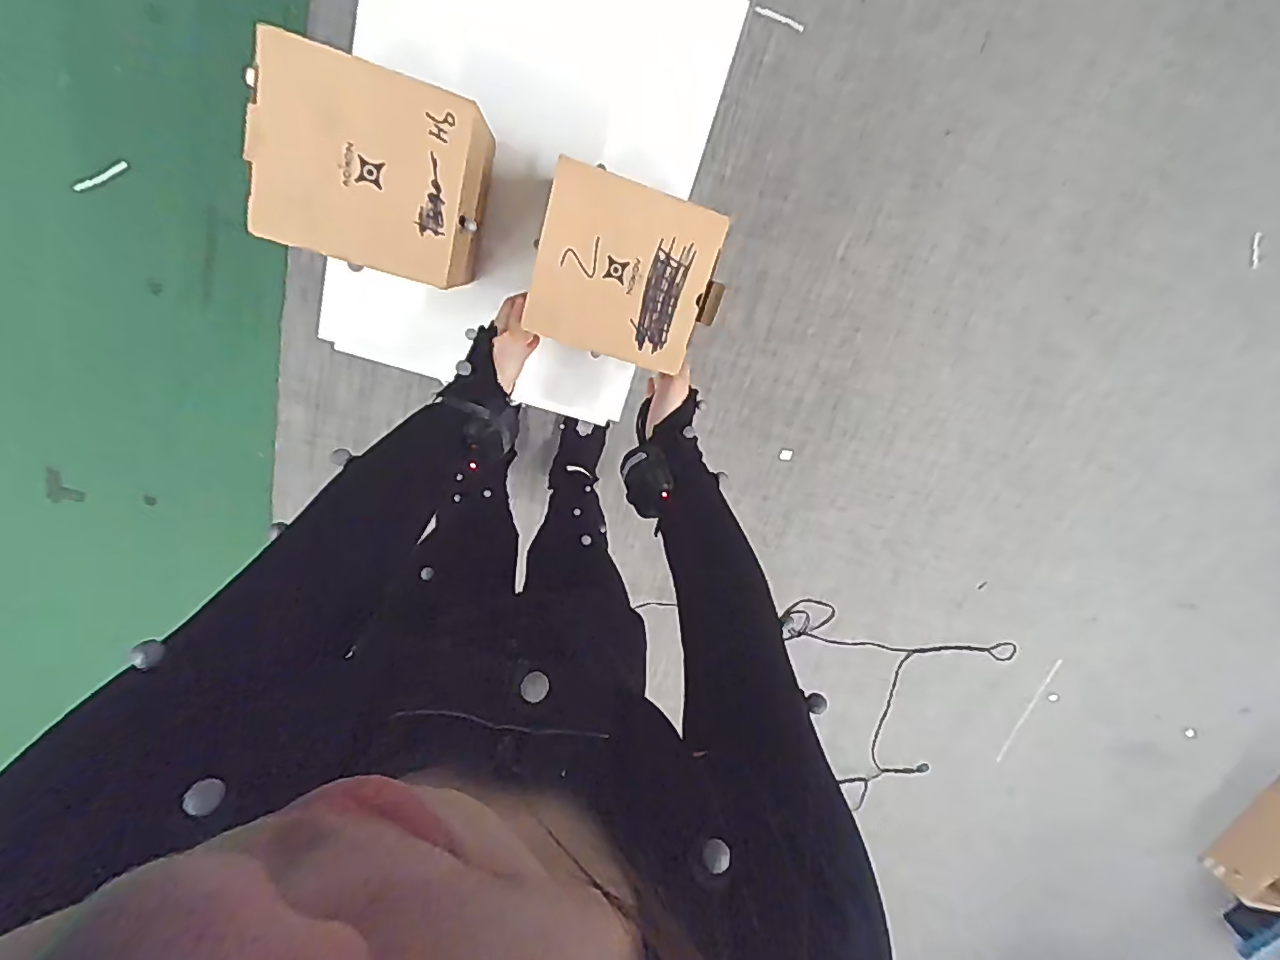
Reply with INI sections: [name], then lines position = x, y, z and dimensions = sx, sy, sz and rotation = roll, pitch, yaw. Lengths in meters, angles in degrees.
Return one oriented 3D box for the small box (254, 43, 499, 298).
[small box]
position = -0.257, -0.297, 0.562
dimensions = 0.179, 0.176, 0.168
rotation = 13, 109, -13
